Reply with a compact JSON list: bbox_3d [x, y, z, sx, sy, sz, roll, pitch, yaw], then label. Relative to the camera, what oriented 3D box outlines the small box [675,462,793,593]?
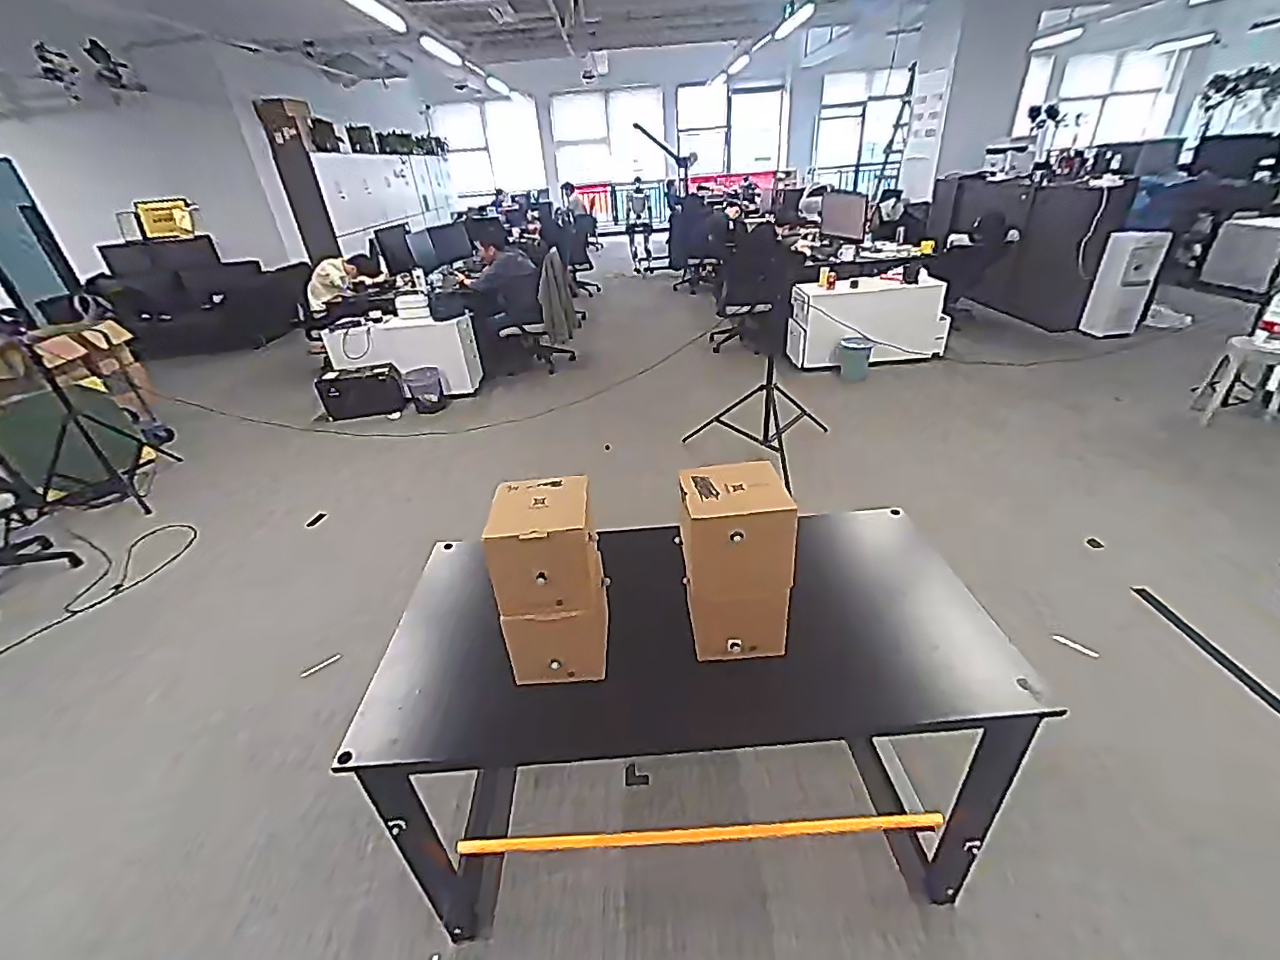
[{"bbox_3d":[0.164,0.086,0.969,0.179,0.176,0.168,-6,30,-1],"label":"small box"}]

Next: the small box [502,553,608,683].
[{"bbox_3d":[-0.153,0.263,1.038,0.168,0.176,0.179,-4,30,2],"label":"small box"}]

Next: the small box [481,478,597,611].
[{"bbox_3d":[-0.168,0.117,0.964,0.168,0.176,0.179,-5,31,-1],"label":"small box"}]

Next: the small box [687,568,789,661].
[{"bbox_3d":[0.182,0.226,1.055,0.168,0.176,0.179,-6,31,0],"label":"small box"}]
